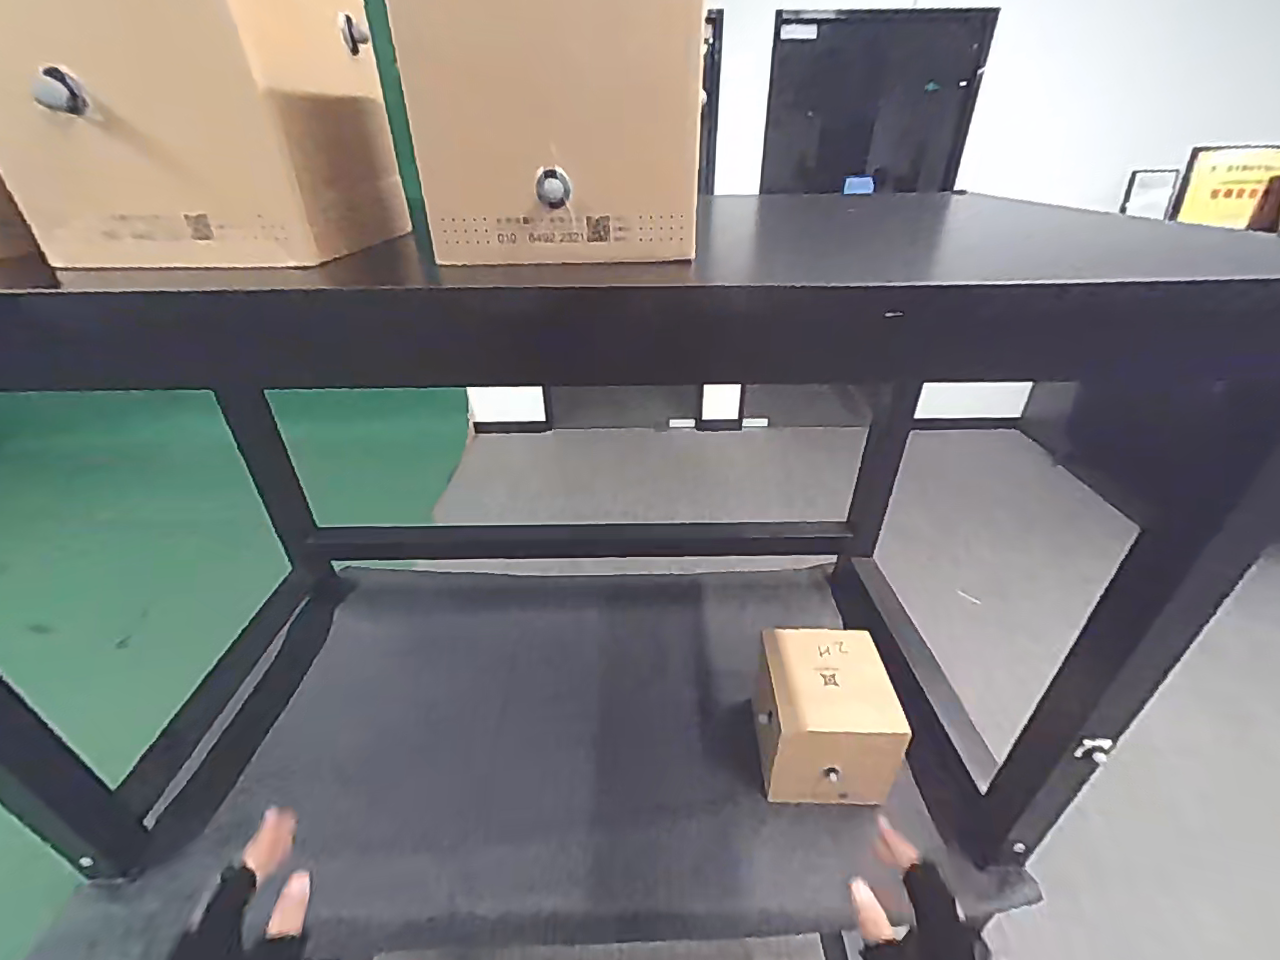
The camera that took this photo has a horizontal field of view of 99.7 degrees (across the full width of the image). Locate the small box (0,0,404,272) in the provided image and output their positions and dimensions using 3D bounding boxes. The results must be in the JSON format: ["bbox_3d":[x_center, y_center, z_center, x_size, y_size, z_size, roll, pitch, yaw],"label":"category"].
[{"bbox_3d":[-0.288,-0.245,0.375,0.168,0.176,0.179,0,31,1],"label":"small box"}]

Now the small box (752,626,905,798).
[{"bbox_3d":[0.263,0.340,0.800,0.168,0.176,0.179,1,31,2],"label":"small box"}]
